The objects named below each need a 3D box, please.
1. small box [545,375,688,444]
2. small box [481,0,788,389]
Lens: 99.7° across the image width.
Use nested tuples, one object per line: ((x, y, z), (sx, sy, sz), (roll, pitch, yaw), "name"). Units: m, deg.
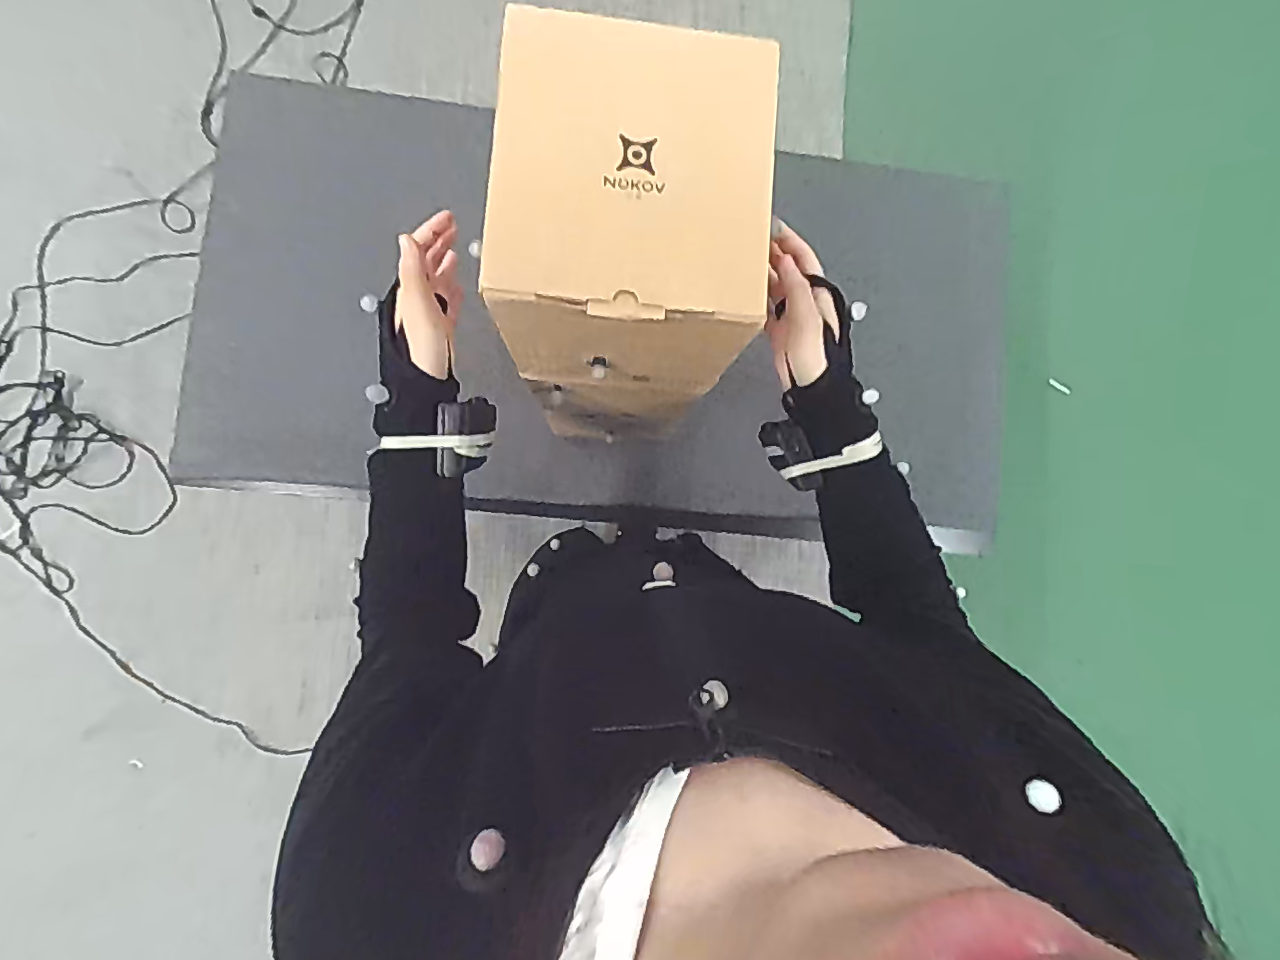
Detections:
((-0.031, -0.150, 0.706), (0.168, 0.176, 0.179), (2, 85, -4), "small box")
((-0.006, -0.177, 0.381), (0.168, 0.176, 0.179), (4, 84, -5), "small box")
